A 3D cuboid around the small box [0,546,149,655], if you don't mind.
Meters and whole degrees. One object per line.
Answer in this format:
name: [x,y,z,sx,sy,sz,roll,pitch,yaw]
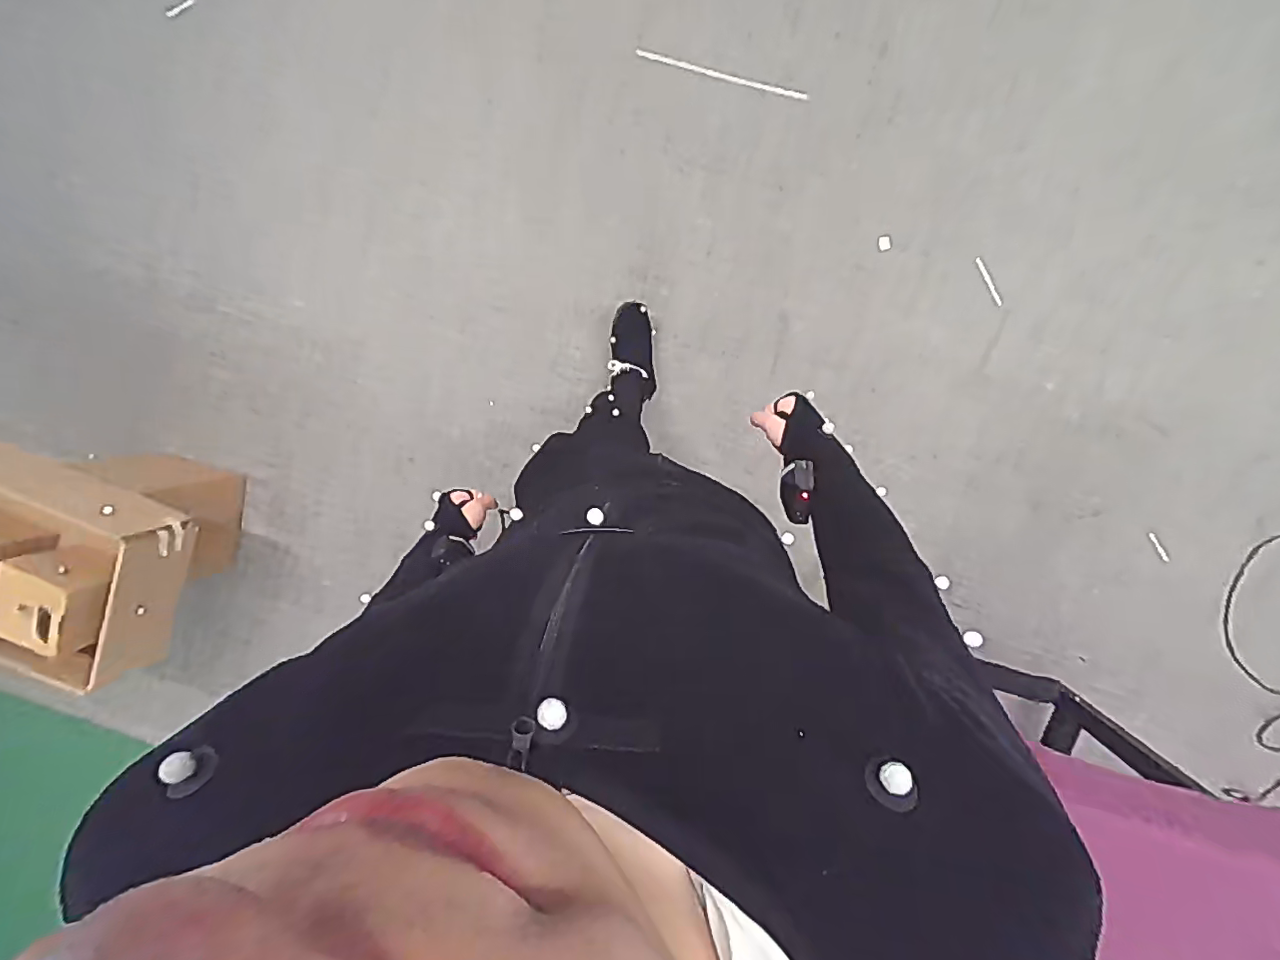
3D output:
small box: [-1.301,0.269,1.250,0.179,0.176,0.168,22,98,4]
